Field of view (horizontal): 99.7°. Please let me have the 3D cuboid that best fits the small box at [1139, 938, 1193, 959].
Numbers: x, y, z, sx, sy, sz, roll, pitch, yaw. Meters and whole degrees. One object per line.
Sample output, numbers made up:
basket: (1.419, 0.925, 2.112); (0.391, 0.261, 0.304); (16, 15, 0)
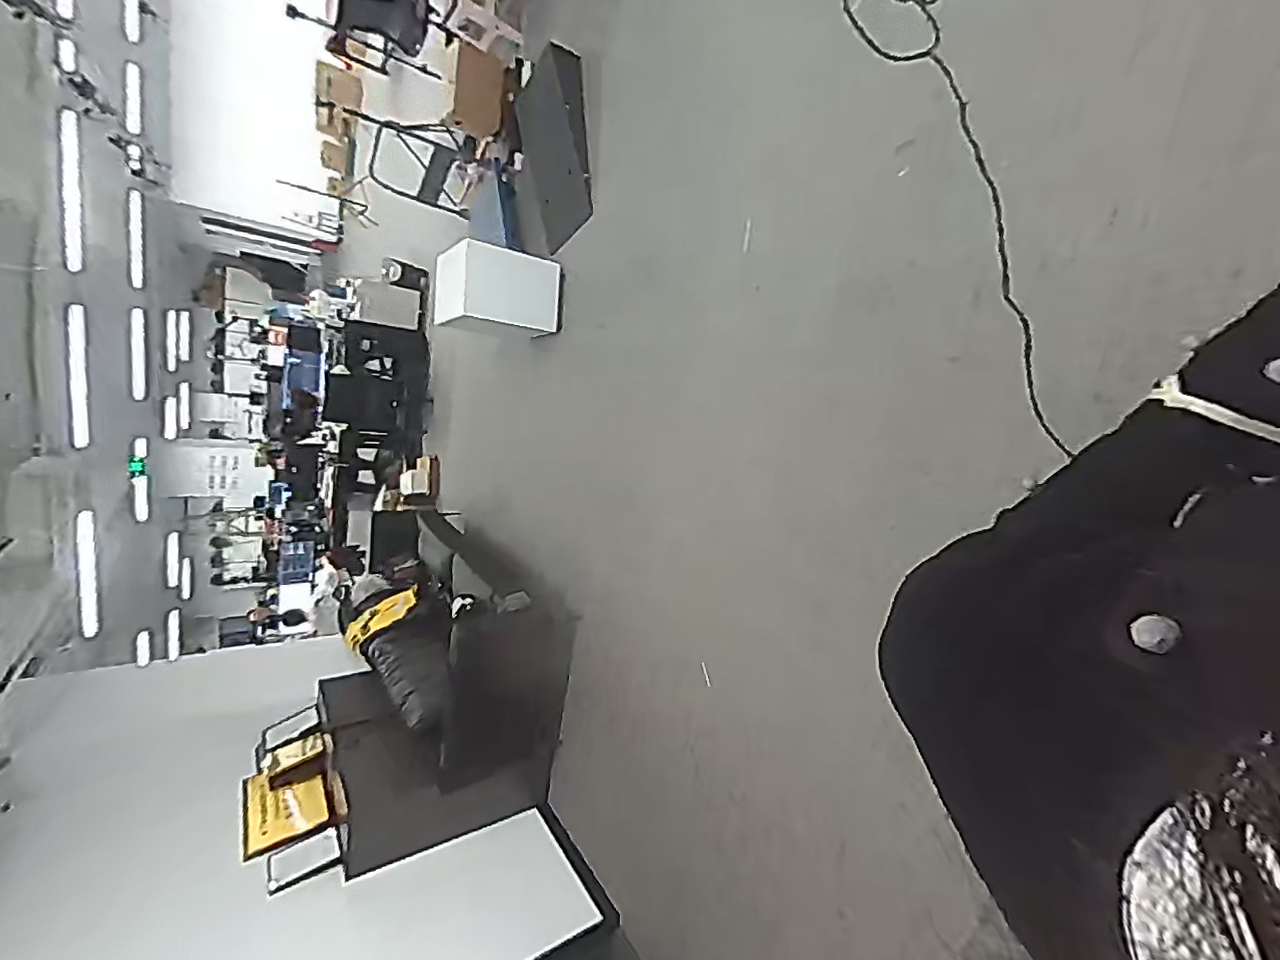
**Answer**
small box: (1.054, 1.063, 1.052); (0.168, 0.176, 0.179); (30, 113, 49)
